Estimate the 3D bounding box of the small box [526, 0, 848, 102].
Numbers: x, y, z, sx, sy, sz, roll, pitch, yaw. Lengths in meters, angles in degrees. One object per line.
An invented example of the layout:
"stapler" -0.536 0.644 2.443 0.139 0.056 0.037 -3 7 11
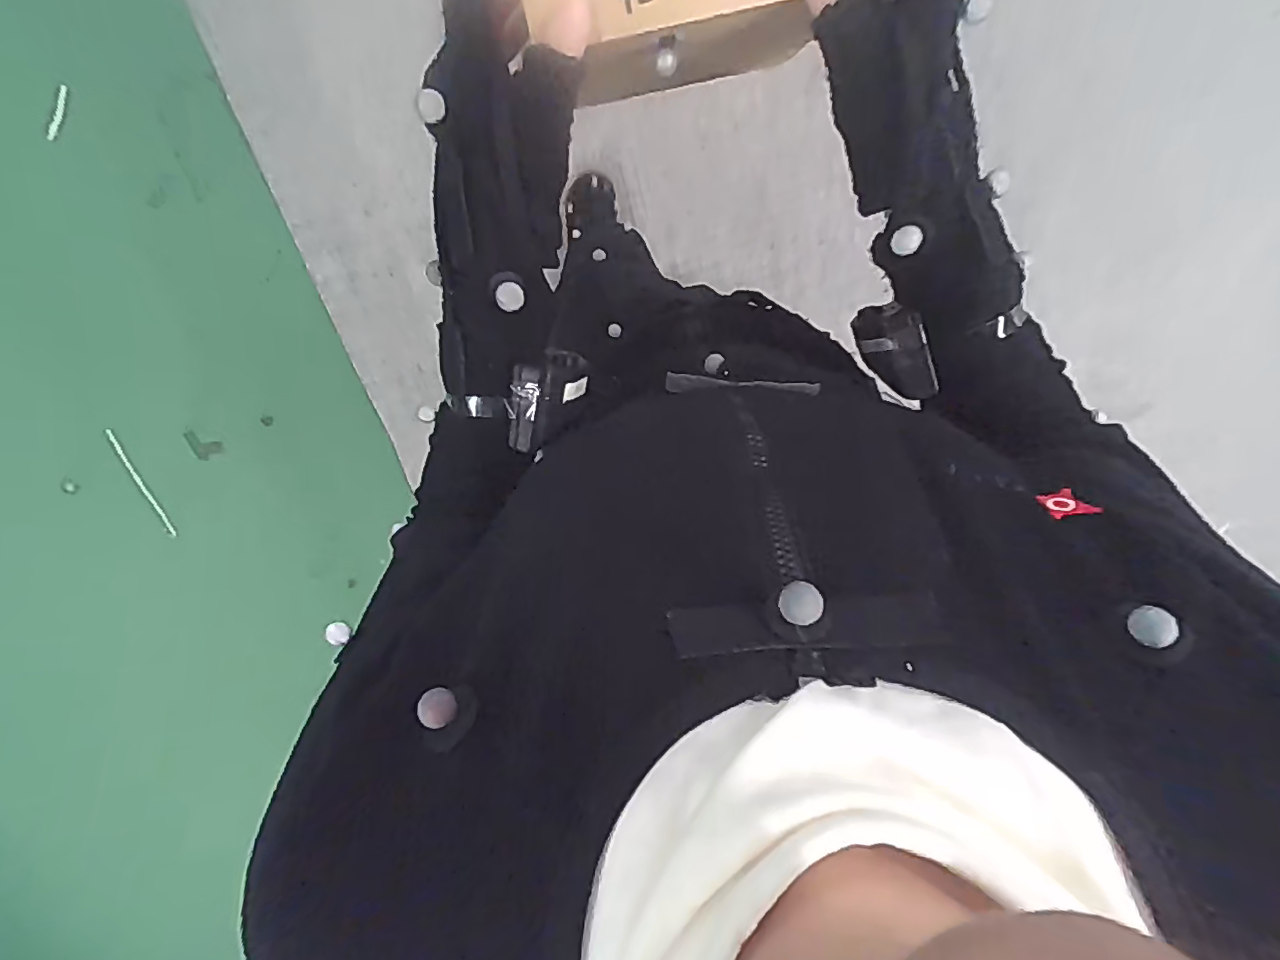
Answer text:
"small box" 0.015 -0.334 0.291 0.168 0.176 0.179 -8 117 5
